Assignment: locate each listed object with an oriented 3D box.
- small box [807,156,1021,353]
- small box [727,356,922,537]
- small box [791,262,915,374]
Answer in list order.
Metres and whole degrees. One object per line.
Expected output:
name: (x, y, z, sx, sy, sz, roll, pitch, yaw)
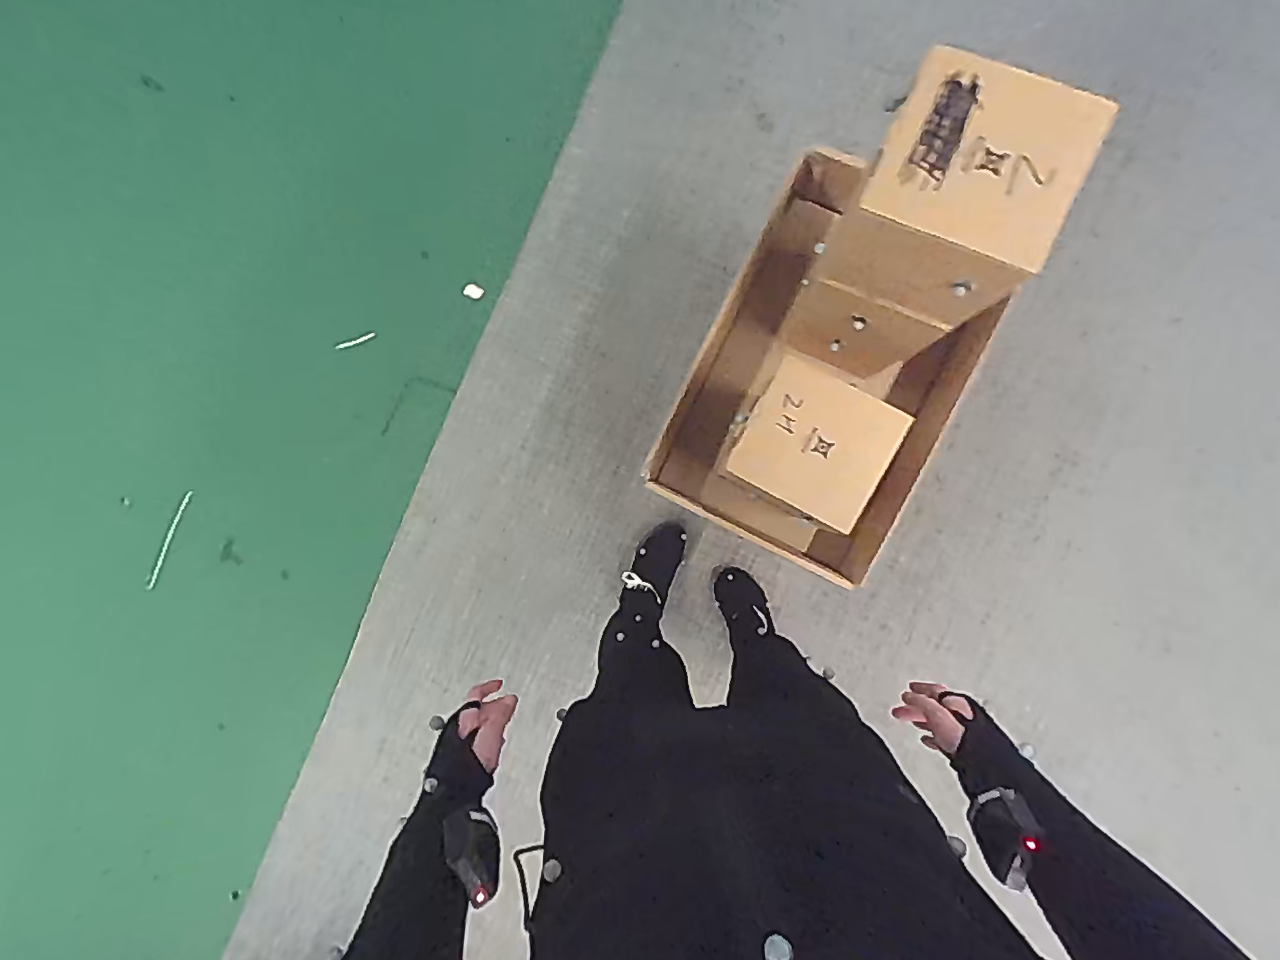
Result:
small box: (0.350, -0.286, 0.730, 0.179, 0.176, 0.168, 25, 93, 8)
small box: (0.235, -0.042, 0.738, 0.179, 0.176, 0.168, 30, 92, 6)
small box: (0.373, -0.288, 0.893, 0.179, 0.176, 0.168, 27, 93, 6)
